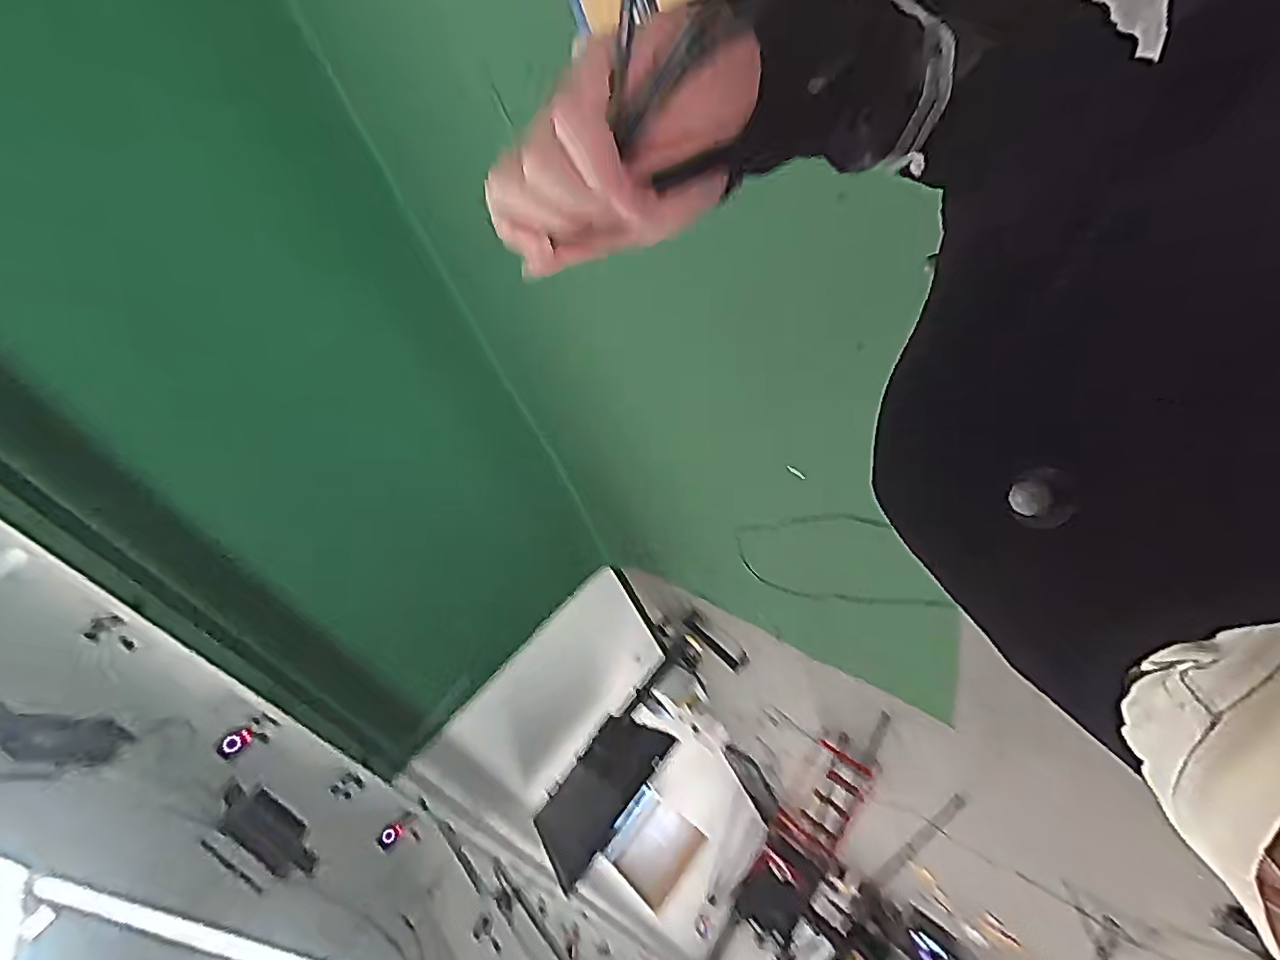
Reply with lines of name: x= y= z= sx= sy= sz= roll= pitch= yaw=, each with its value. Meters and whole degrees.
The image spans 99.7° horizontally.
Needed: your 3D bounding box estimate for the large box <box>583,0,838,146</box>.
large box: x=0.155 y=-1.015 z=1.193 sx=0.408 sy=0.320 sz=0.320 roll=15 pitch=141 yaw=48
